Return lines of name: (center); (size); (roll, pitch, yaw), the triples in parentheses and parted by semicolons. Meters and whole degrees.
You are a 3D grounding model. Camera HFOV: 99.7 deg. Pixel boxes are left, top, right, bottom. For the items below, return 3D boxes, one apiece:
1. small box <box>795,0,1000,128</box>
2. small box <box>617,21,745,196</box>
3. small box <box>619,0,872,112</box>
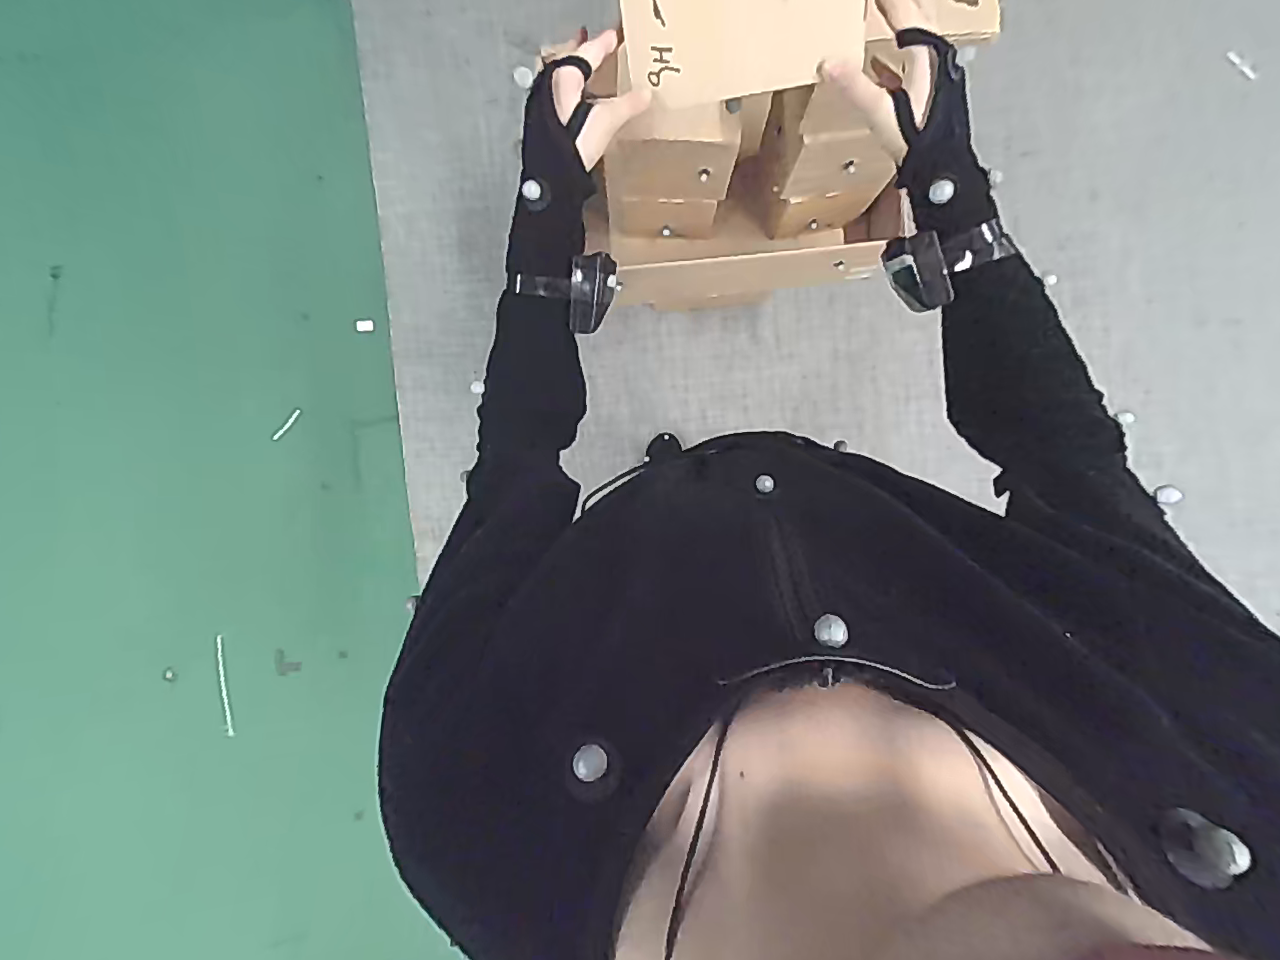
small box: (0.290, -0.548, 0.638); (0.179, 0.176, 0.168); (-1, 93, 5)
small box: (0.058, -0.552, 0.819); (0.179, 0.176, 0.168); (2, 92, 1)
small box: (0.072, -0.403, 0.423); (0.179, 0.176, 0.168); (-5, 125, 7)
